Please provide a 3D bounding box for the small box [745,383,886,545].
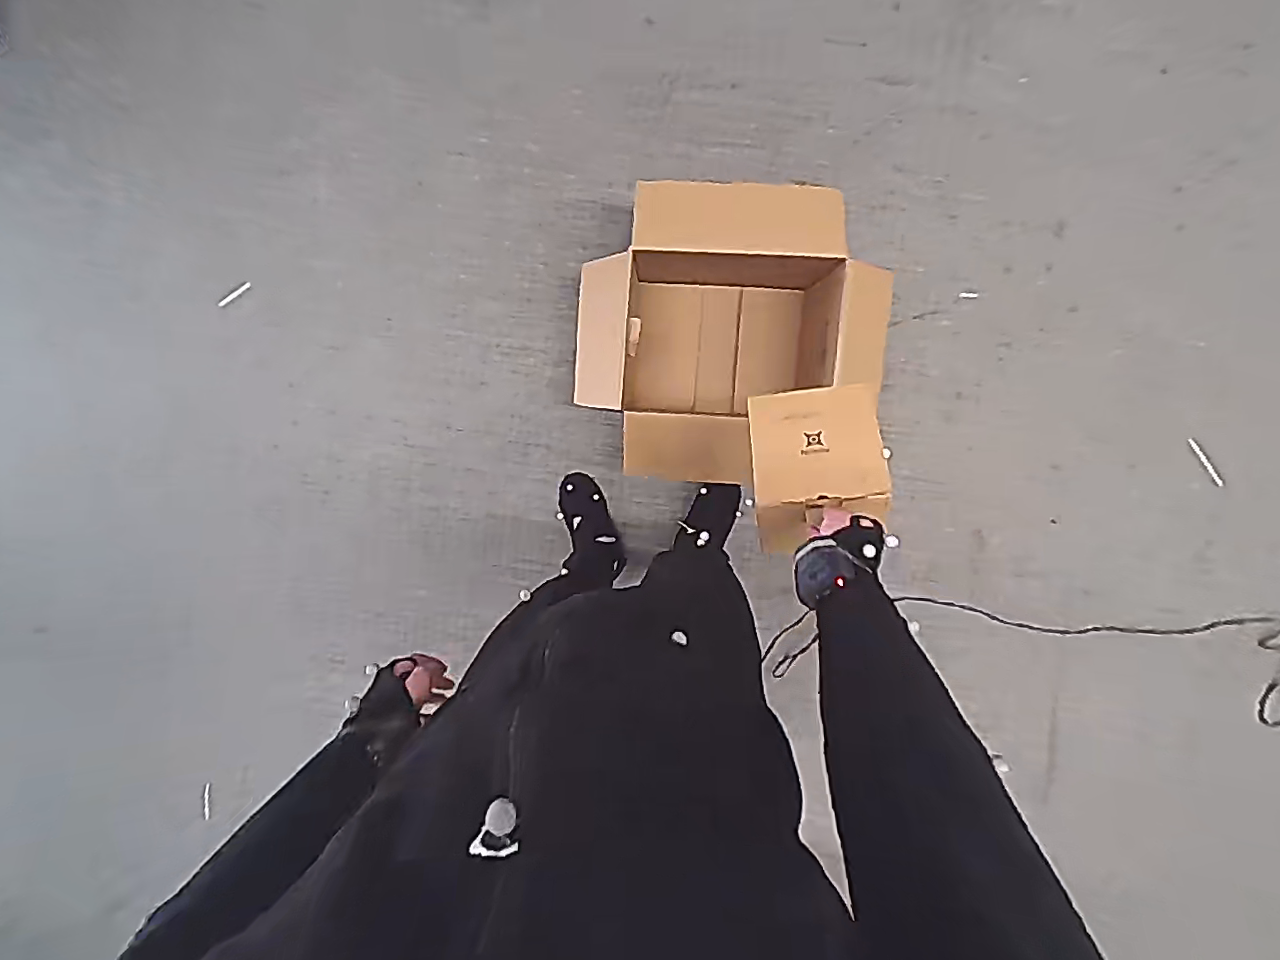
[{"bbox_3d":[0.244,-0.013,0.784,0.168,0.176,0.179,-4,59,11],"label":"small box"}]
